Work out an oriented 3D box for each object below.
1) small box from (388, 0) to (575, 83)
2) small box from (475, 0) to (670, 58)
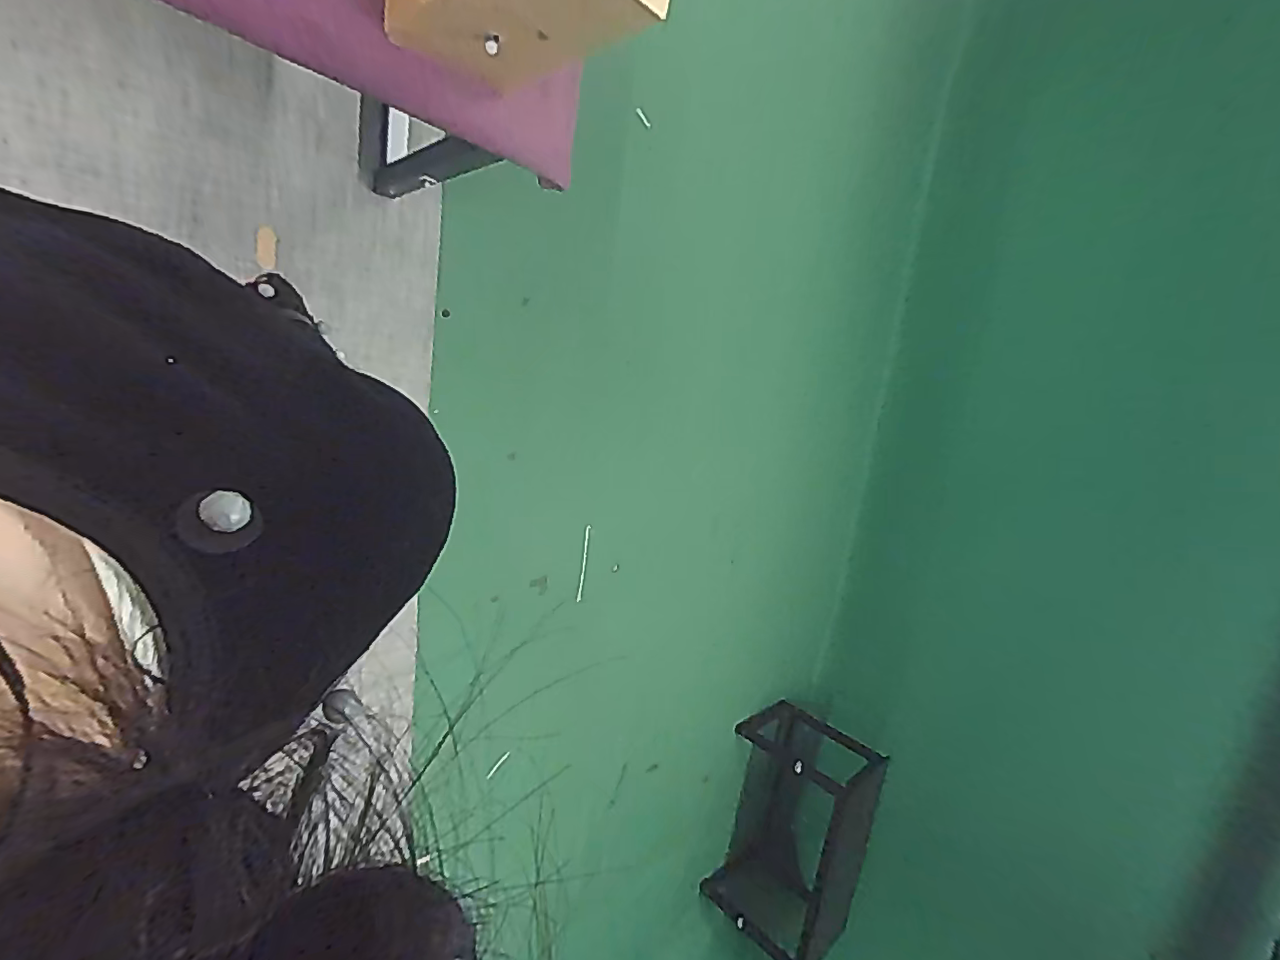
[{"bbox_3d":[-0.186,-0.623,0.662,0.179,0.176,0.168,-3,107,-43],"label":"small box"},{"bbox_3d":[-0.073,-0.585,0.549,0.168,0.176,0.179,-2,105,-42],"label":"small box"}]
